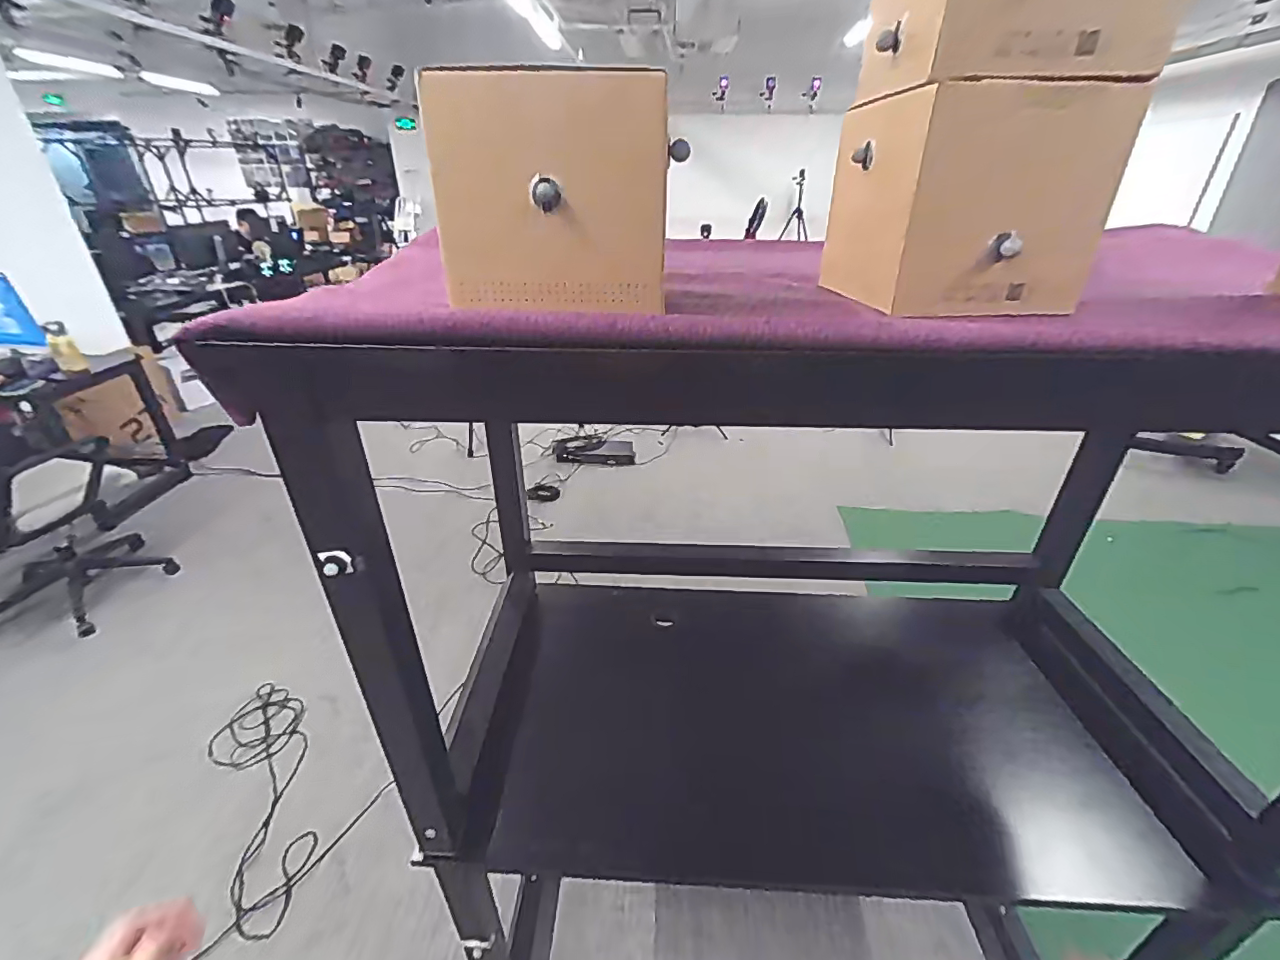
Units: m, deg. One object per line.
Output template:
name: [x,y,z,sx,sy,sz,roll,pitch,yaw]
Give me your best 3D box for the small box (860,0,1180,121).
small box: [0.295,-0.393,0.427,0.168,0.176,0.179,1,29,1]
